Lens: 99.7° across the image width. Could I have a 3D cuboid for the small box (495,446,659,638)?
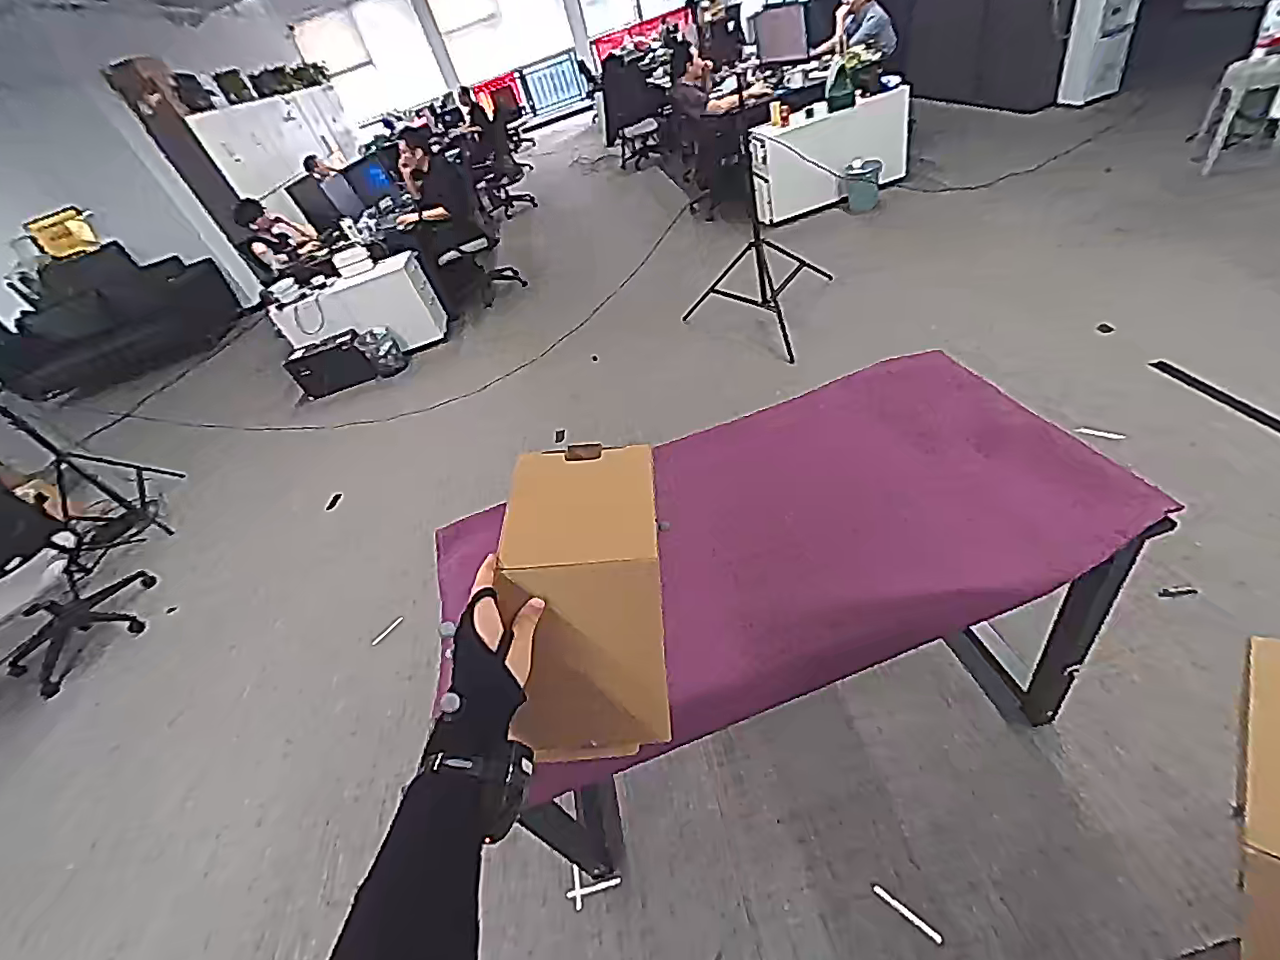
[{"bbox_3d":[-0.065,0.081,0.662,0.168,0.176,0.179,-4,44,1],"label":"small box"}]
